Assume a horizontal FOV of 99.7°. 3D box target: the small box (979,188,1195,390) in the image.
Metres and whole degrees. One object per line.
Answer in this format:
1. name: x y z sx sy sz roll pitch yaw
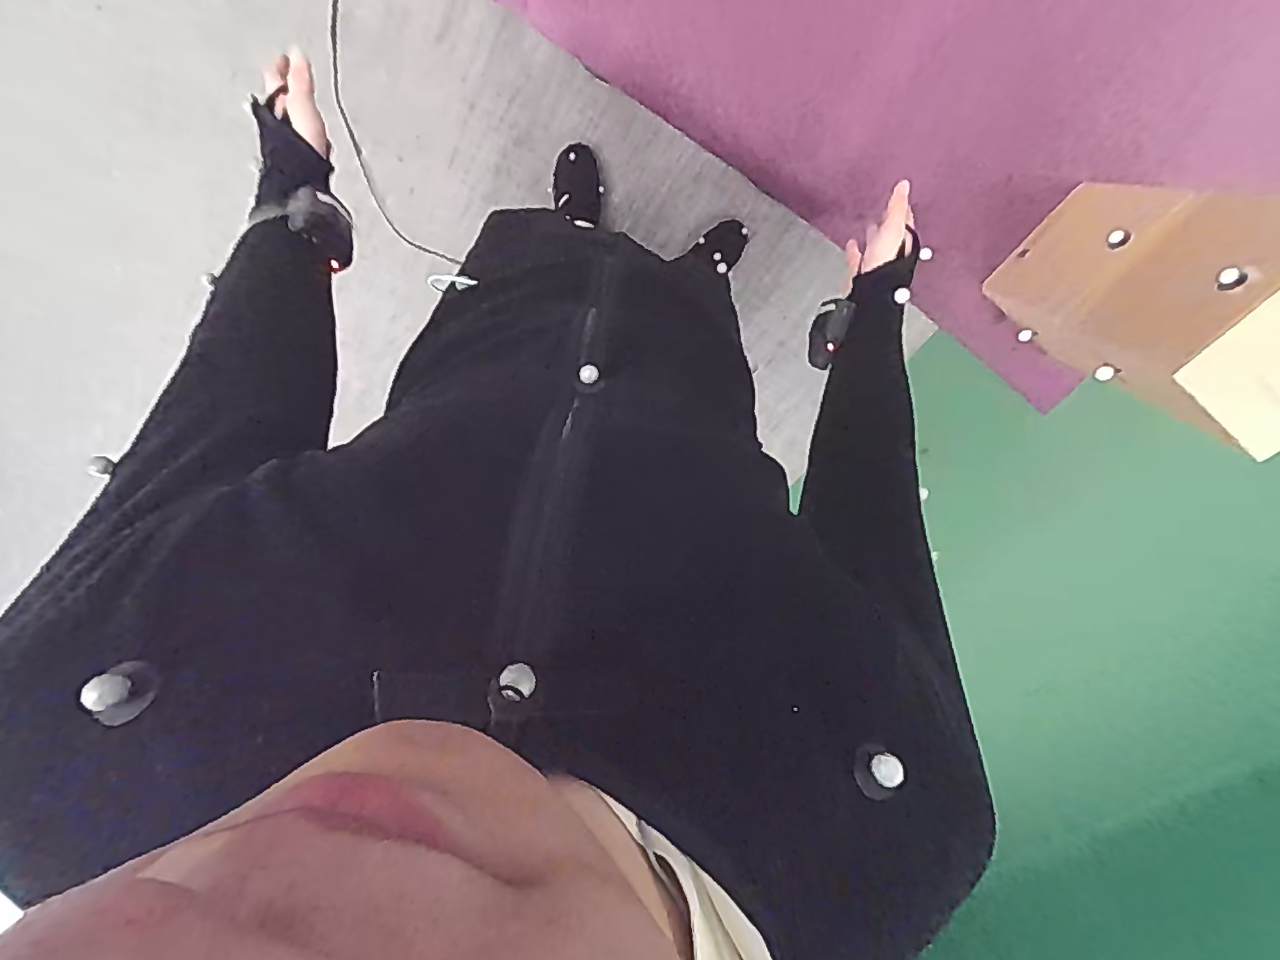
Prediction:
1. small box: 0.597 -0.252 0.700 0.179 0.176 0.168 30 116 -19

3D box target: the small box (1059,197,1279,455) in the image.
1. small box: 0.604 -0.166 0.561 0.168 0.176 0.179 31 117 -17
